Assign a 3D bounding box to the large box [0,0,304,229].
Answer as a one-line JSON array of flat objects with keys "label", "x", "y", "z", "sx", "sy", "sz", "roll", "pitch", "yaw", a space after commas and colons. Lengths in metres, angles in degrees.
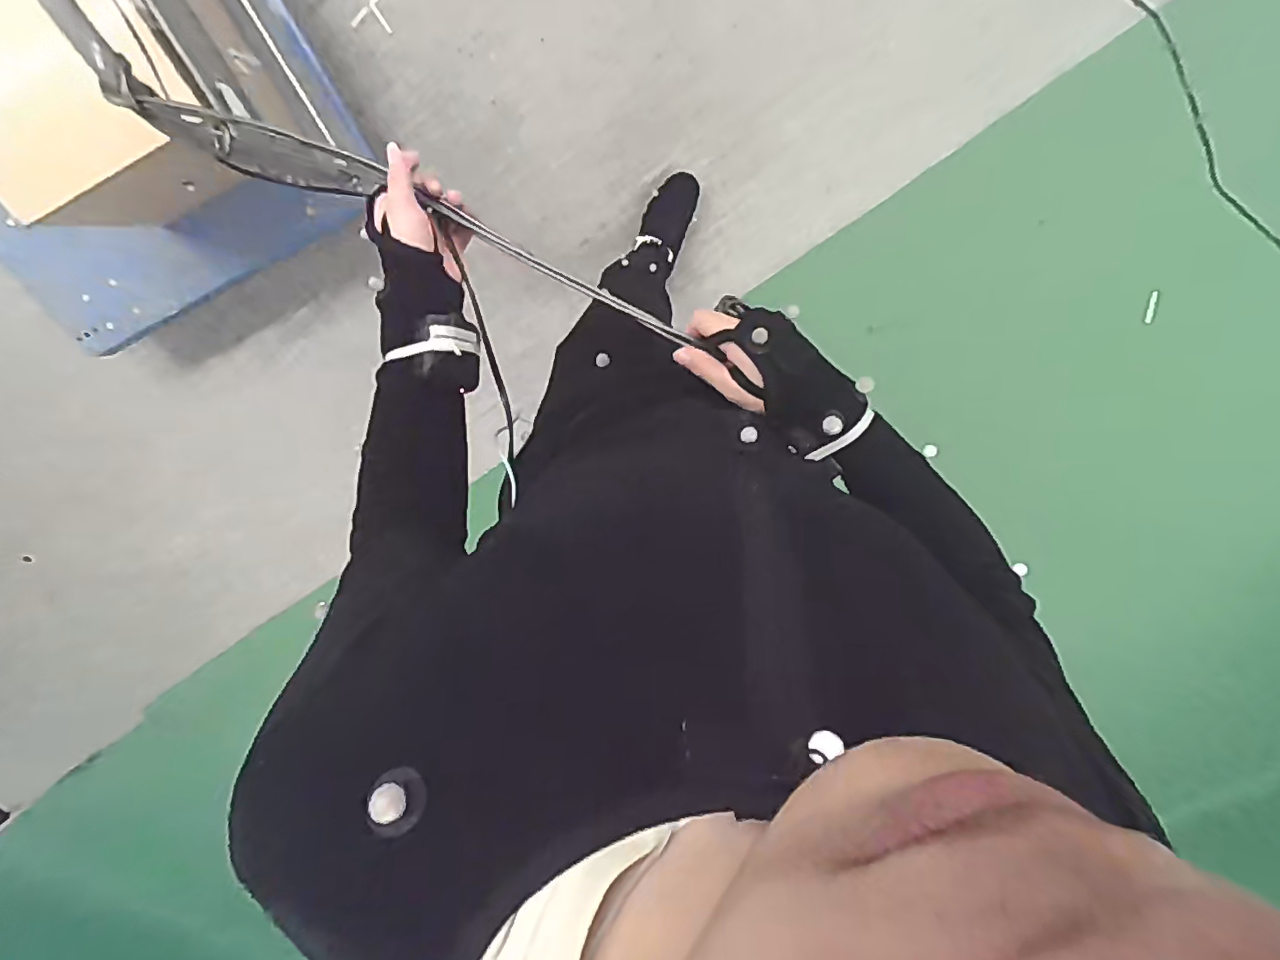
[{"label": "large box", "x": -0.923, "y": -0.691, "z": 0.955, "sx": 0.408, "sy": 0.320, "sz": 0.320, "roll": -22, "pitch": 114, "yaw": 9}]
